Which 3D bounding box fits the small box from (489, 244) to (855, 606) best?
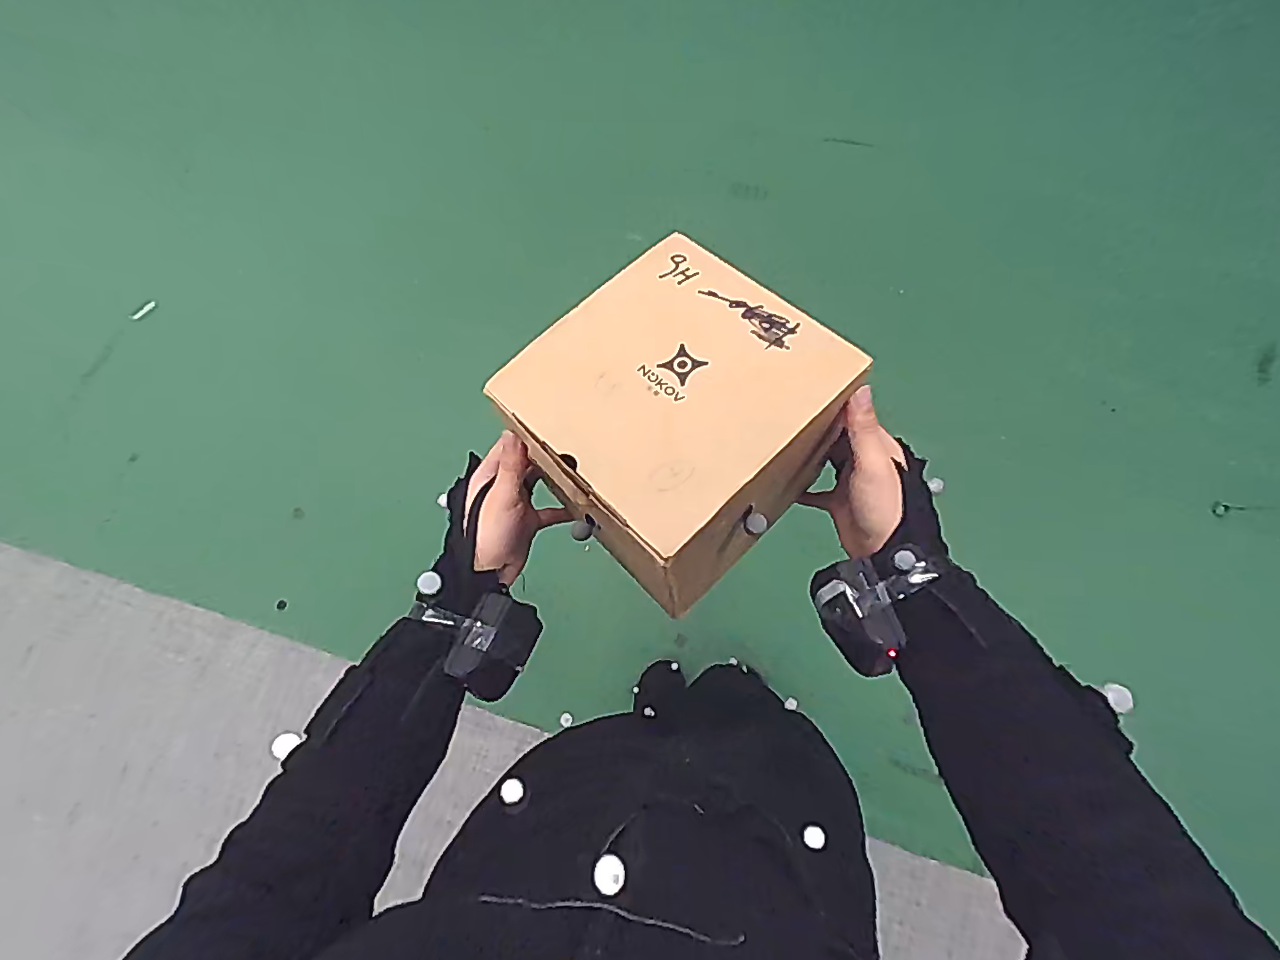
[{"bbox_3d":[0.026,-0.029,0.410,0.179,0.176,0.168,-43,68,-12],"label":"small box"}]
